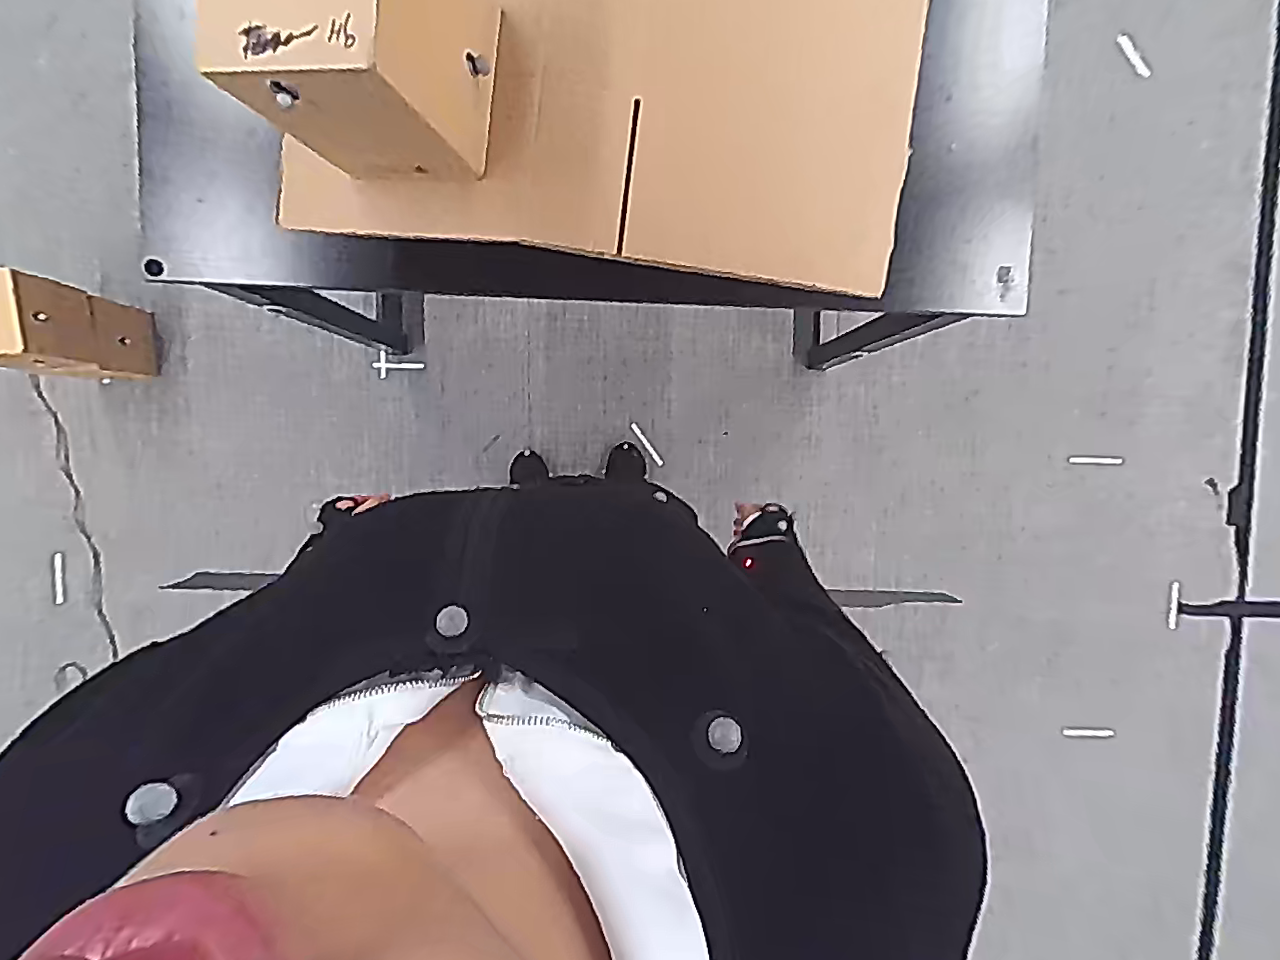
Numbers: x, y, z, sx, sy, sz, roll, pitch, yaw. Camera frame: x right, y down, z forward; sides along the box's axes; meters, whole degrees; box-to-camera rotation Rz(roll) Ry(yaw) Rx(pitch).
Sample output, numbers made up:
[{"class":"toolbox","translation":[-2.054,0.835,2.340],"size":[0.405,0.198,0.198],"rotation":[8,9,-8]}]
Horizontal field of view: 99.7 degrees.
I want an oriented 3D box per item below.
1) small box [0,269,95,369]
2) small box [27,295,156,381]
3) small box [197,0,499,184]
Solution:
[{"class":"small box","translation":[-1.348,-0.340,1.174],"size":[0.168,0.176,0.179],"rotation":[-5,93,-2]},{"class":"small box","translation":[-1.353,-0.345,1.337],"size":[0.168,0.176,0.179],"rotation":[-2,95,-2]},{"class":"small box","translation":[-0.243,-0.400,0.487],"size":[0.168,0.176,0.179],"rotation":[8,93,12]}]
